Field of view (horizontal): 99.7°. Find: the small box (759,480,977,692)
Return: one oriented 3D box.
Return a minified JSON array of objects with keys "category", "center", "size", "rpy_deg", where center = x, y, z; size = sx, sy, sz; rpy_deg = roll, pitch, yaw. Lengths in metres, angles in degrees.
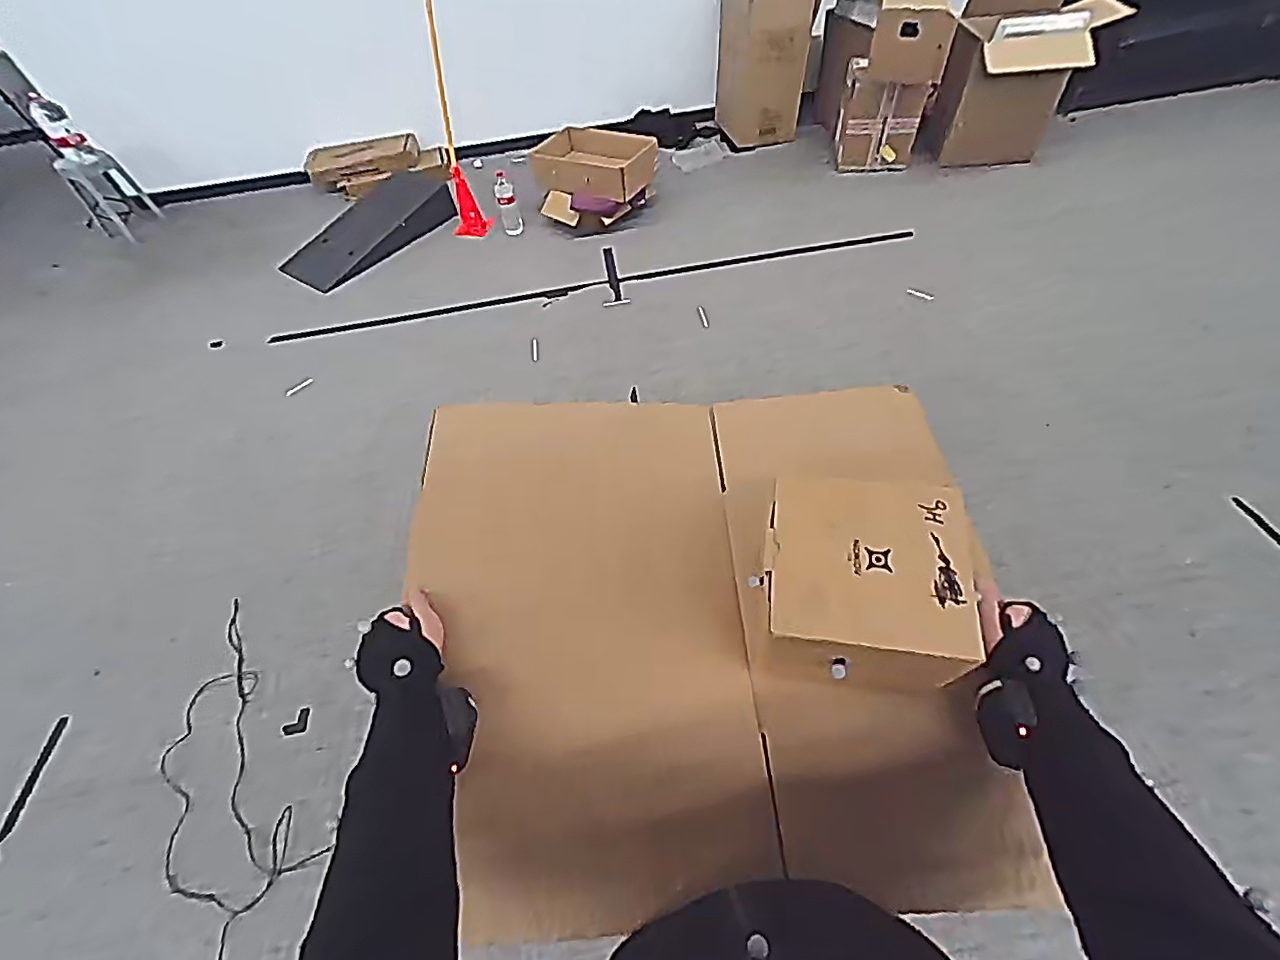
[{"category":"small box","center":[0.220,0.116,0.572],"size":[0.179,0.176,0.168],"rpy_deg":[4,59,11]}]
